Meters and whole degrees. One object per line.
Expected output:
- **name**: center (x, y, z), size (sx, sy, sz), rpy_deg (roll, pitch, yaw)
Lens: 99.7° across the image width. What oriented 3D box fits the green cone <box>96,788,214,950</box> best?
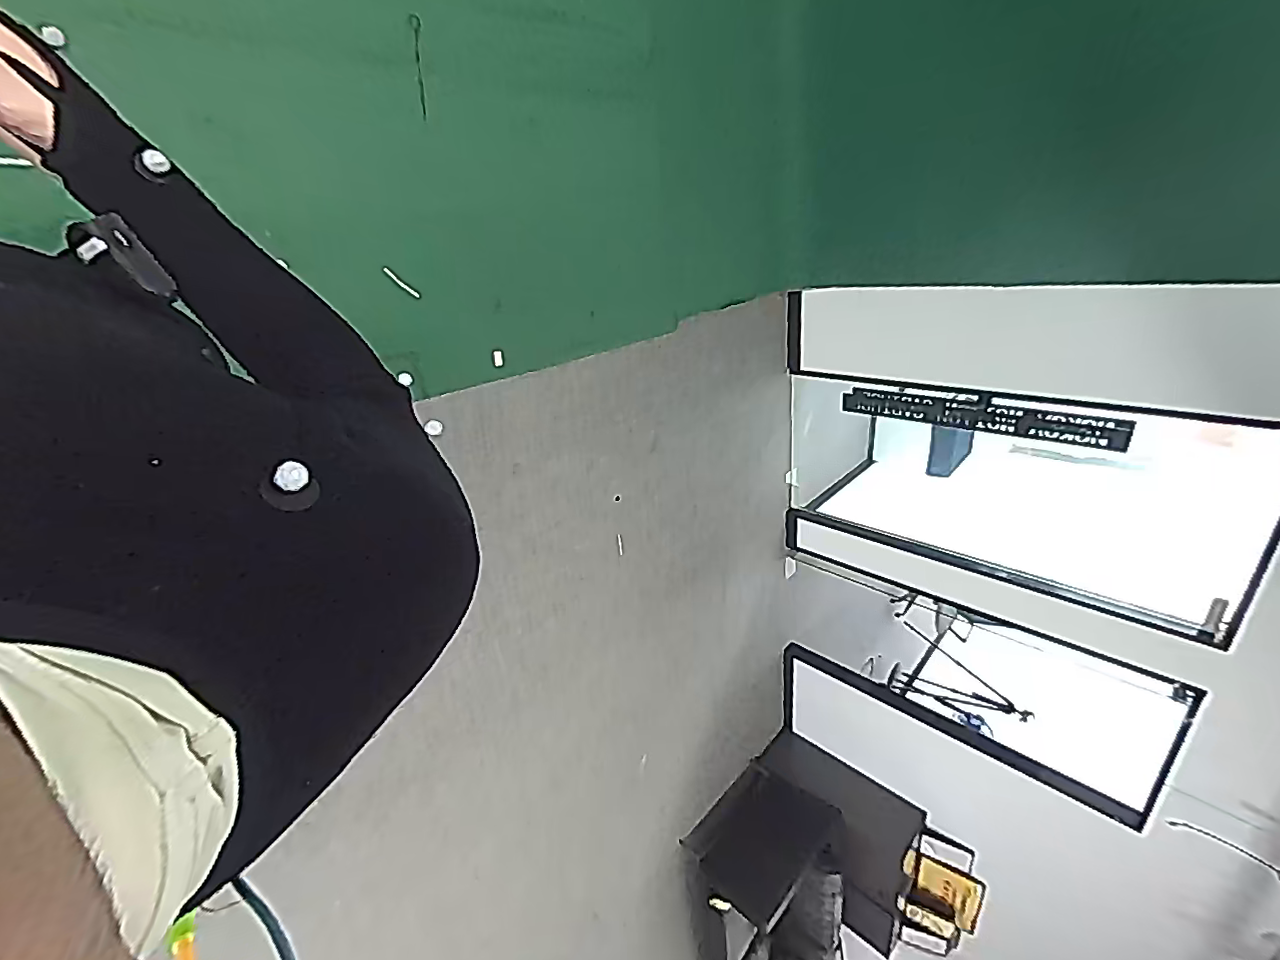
- **green cone**: center (-1.182, 0.996, 1.343), size (0.202, 0.368, 0.200), rpy_deg (-25, 121, -38)
